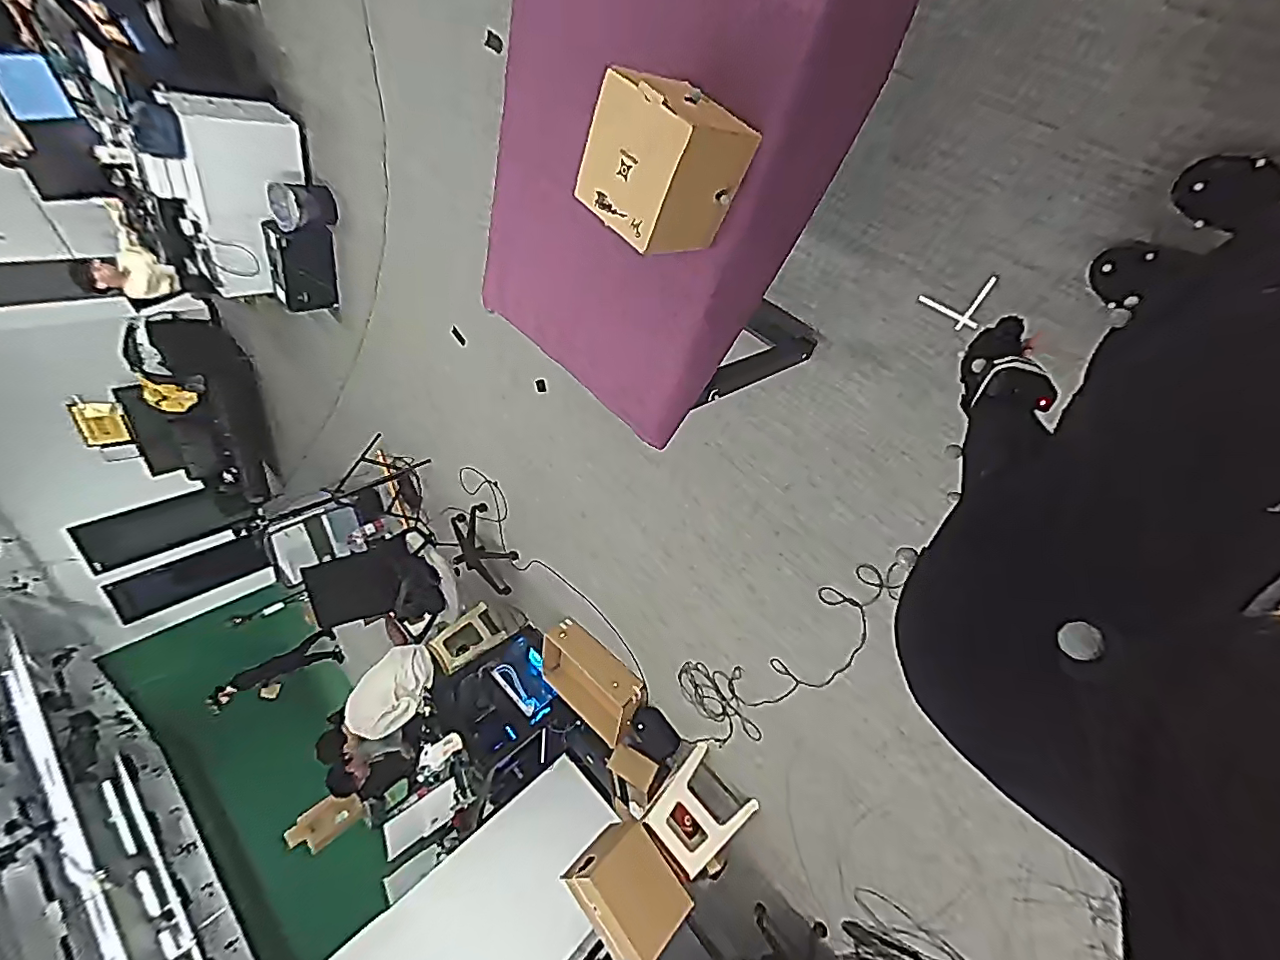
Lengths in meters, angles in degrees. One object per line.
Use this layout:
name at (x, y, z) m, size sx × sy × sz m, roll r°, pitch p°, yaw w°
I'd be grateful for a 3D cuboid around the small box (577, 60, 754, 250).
small box at (0.040, -0.467, 0.795) m, size 0.168 × 0.176 × 0.179 m, roll 47°, pitch 136°, yaw 18°
